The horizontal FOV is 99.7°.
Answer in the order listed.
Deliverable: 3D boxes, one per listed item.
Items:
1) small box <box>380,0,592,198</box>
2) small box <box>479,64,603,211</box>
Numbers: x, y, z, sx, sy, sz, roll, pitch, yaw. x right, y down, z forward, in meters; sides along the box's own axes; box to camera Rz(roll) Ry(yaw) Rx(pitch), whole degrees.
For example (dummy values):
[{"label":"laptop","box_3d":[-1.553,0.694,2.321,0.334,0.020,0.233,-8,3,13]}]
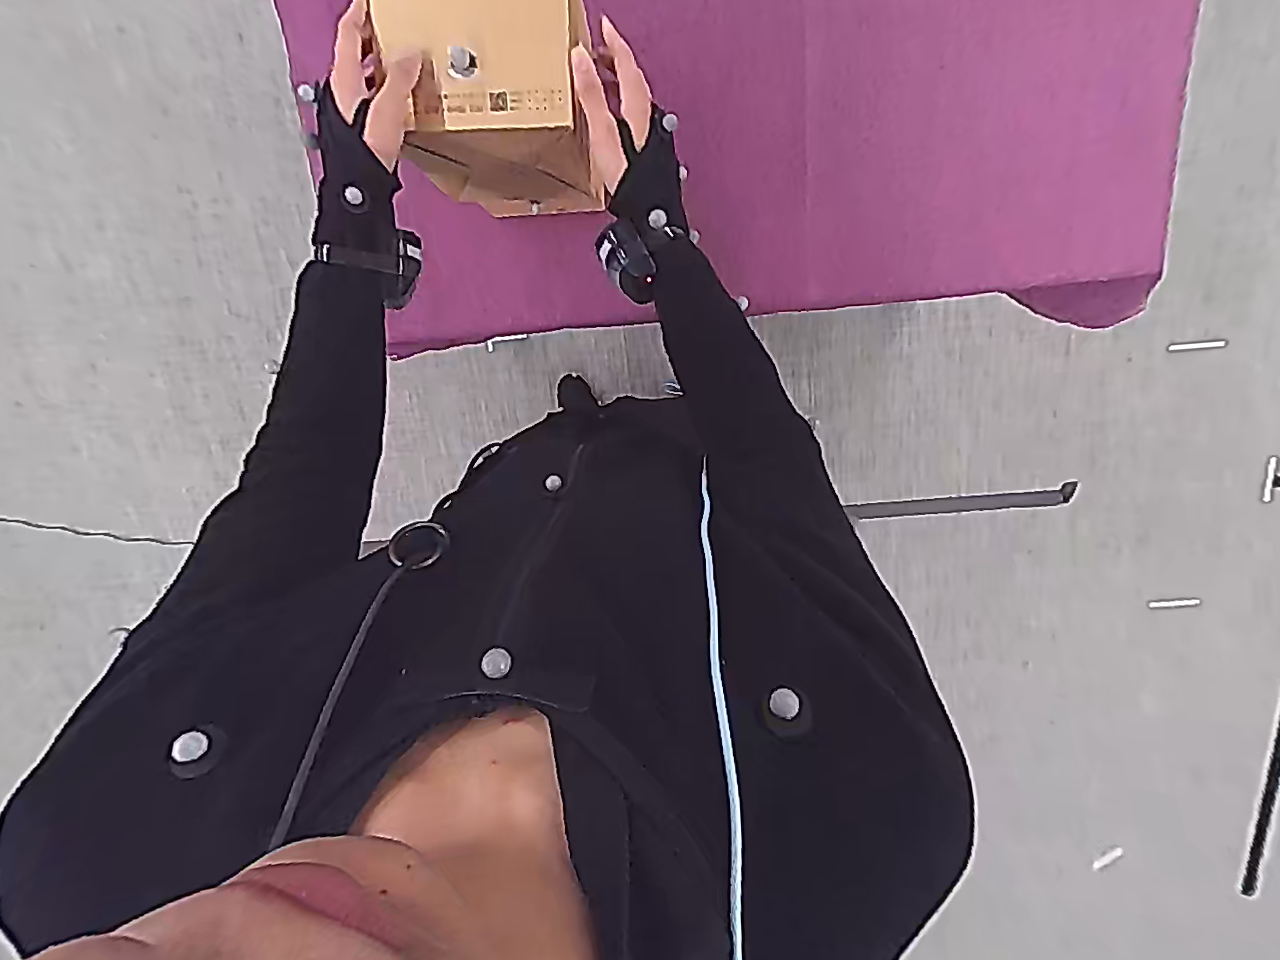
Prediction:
[{"label":"small box","box_3d":[-0.137,-0.389,0.525,0.168,0.179,0.176,-1,100,1]},{"label":"small box","box_3d":[-0.139,-0.454,0.690,0.168,0.176,0.179,-2,104,1]}]
